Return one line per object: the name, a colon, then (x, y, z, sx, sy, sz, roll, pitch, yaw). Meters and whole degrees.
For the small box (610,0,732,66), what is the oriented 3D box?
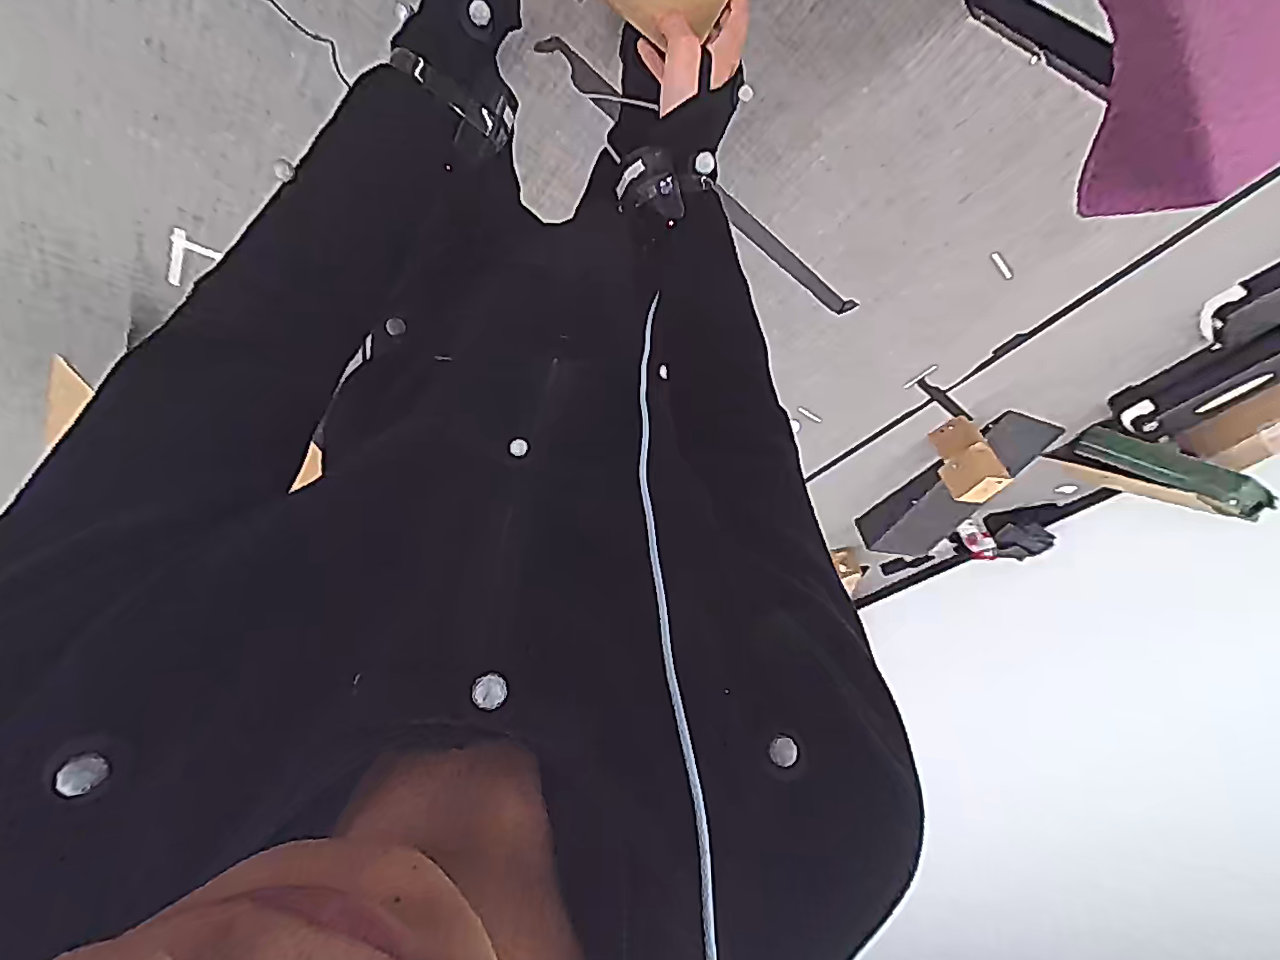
small box: (0.002, -0.491, 0.430, 0.179, 0.176, 0.168, 11, 137, -38)
